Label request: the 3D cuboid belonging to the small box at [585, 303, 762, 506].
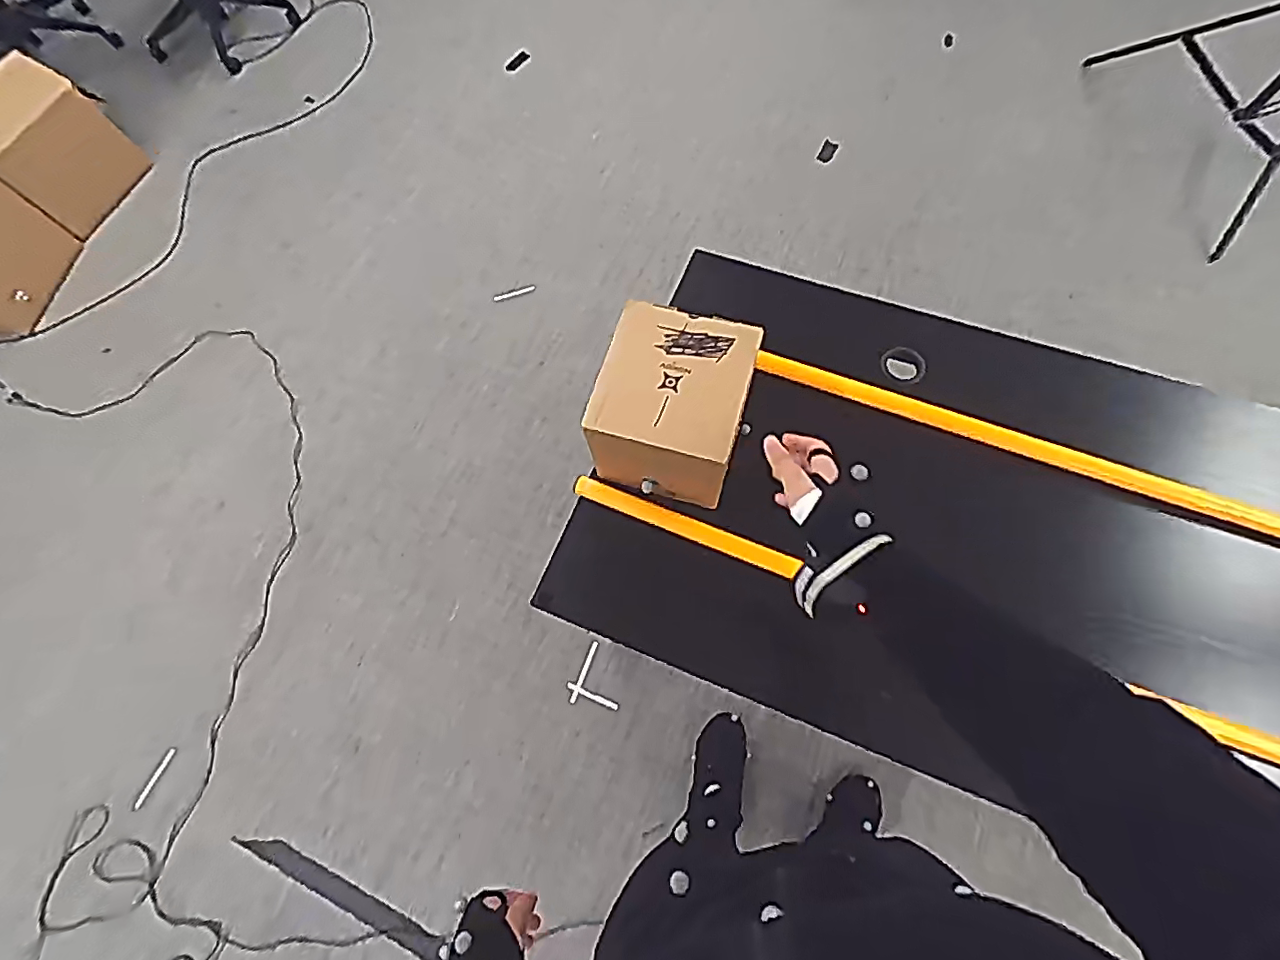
[{"bbox_3d":[0.044,-0.087,0.685,0.168,0.176,0.179,15,72,9],"label":"small box"}]
